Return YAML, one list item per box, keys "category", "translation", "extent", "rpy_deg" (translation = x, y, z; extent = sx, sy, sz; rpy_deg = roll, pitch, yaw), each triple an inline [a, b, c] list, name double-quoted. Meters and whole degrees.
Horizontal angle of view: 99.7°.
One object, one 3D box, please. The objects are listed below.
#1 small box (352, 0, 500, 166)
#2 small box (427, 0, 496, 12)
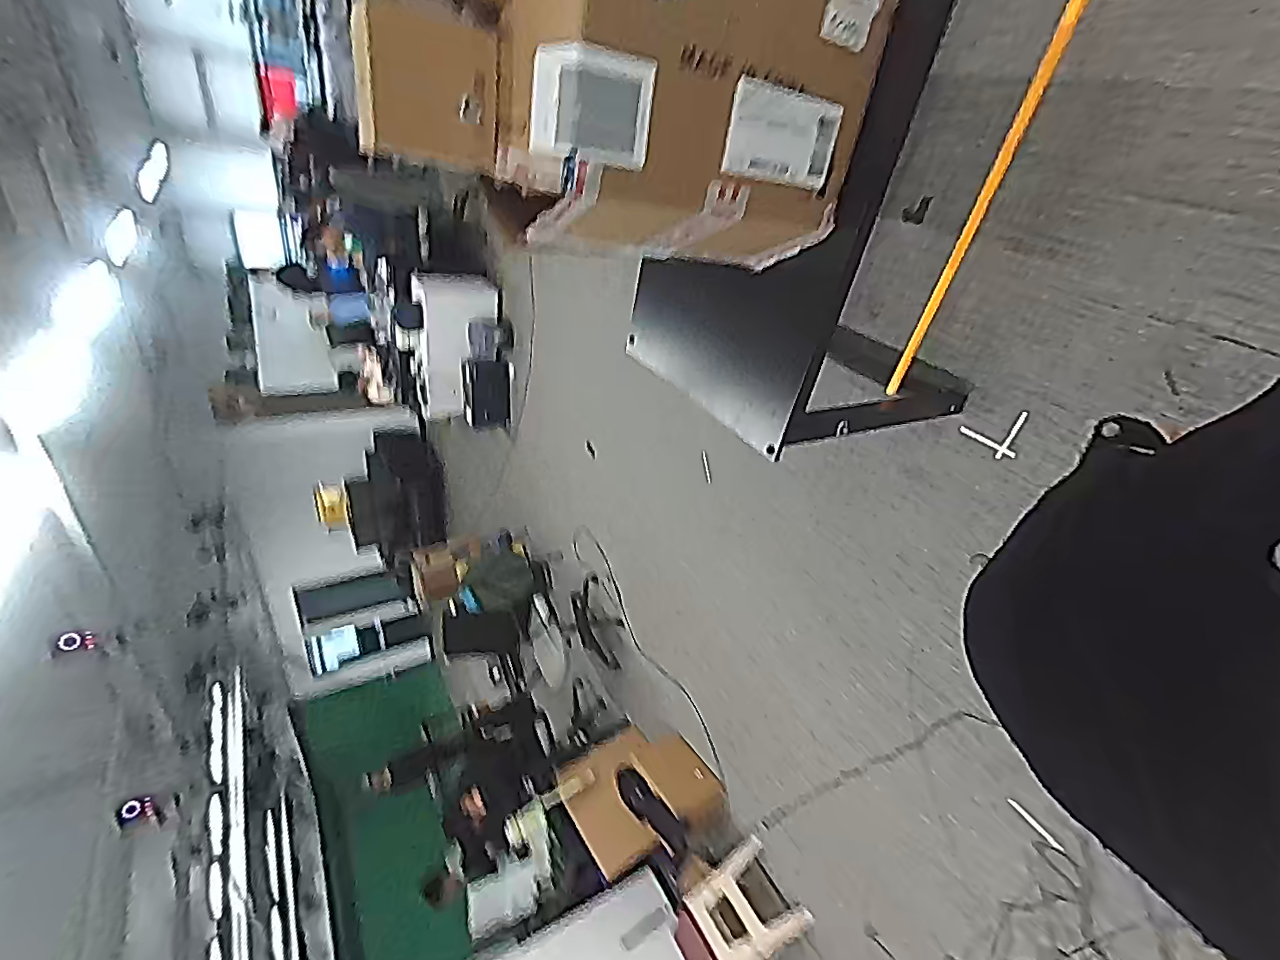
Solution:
- category: "small box"
  translation: [-0.314, -0.567, 0.795]
  extent: [0.179, 0.176, 0.168]
  rpy_deg: [41, 132, 48]
- category: "small box"
  translation: [-0.276, -0.729, 0.685]
  extent: [0.179, 0.176, 0.168]
  rpy_deg: [44, 132, 44]
